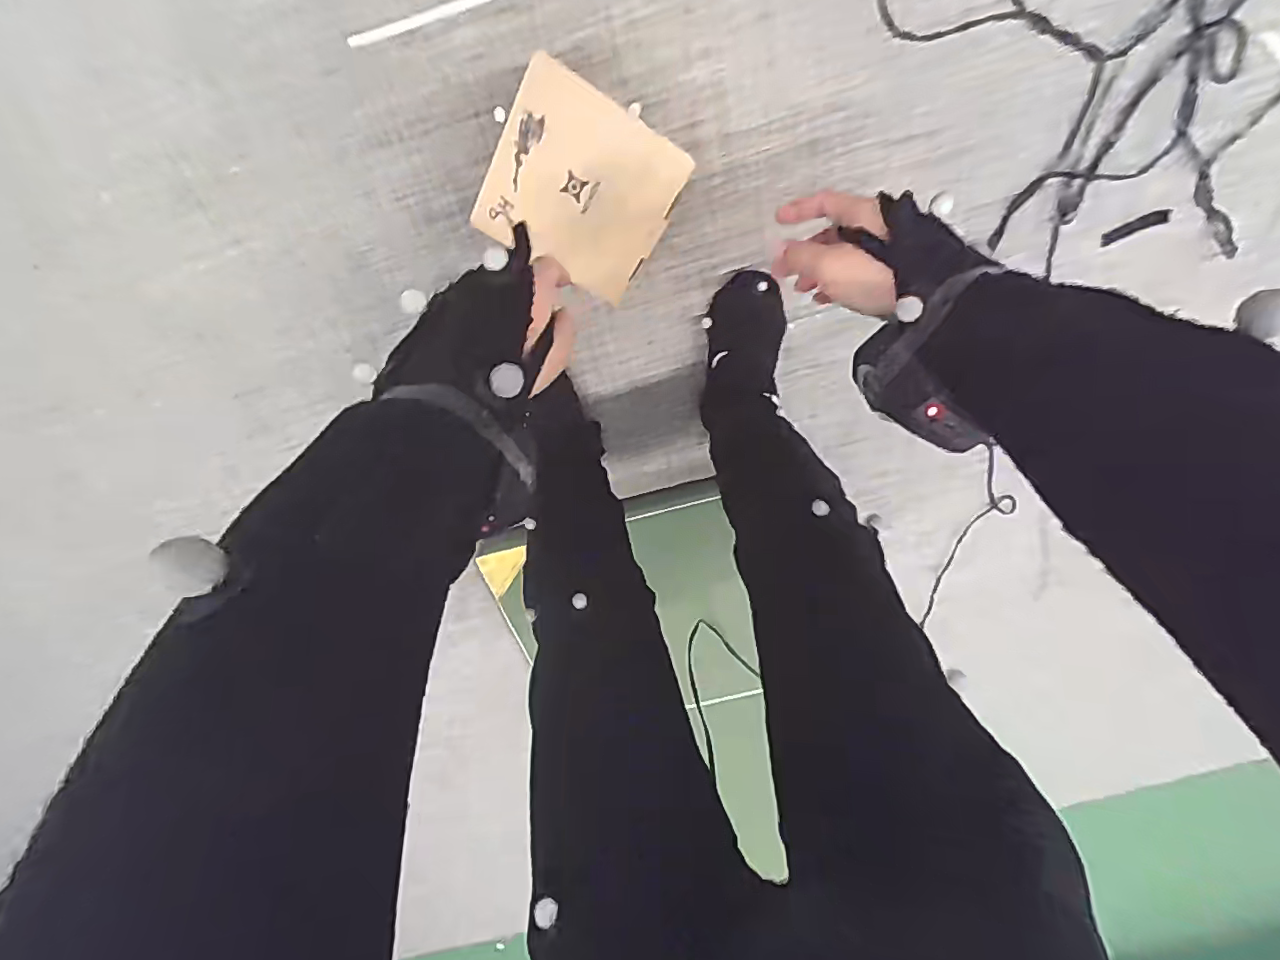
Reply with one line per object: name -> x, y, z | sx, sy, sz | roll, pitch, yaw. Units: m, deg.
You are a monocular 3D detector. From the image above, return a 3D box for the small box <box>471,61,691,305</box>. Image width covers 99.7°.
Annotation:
small box -> -0.068, -0.336, 0.619 | 0.179, 0.176, 0.168 | 24, 118, -22
